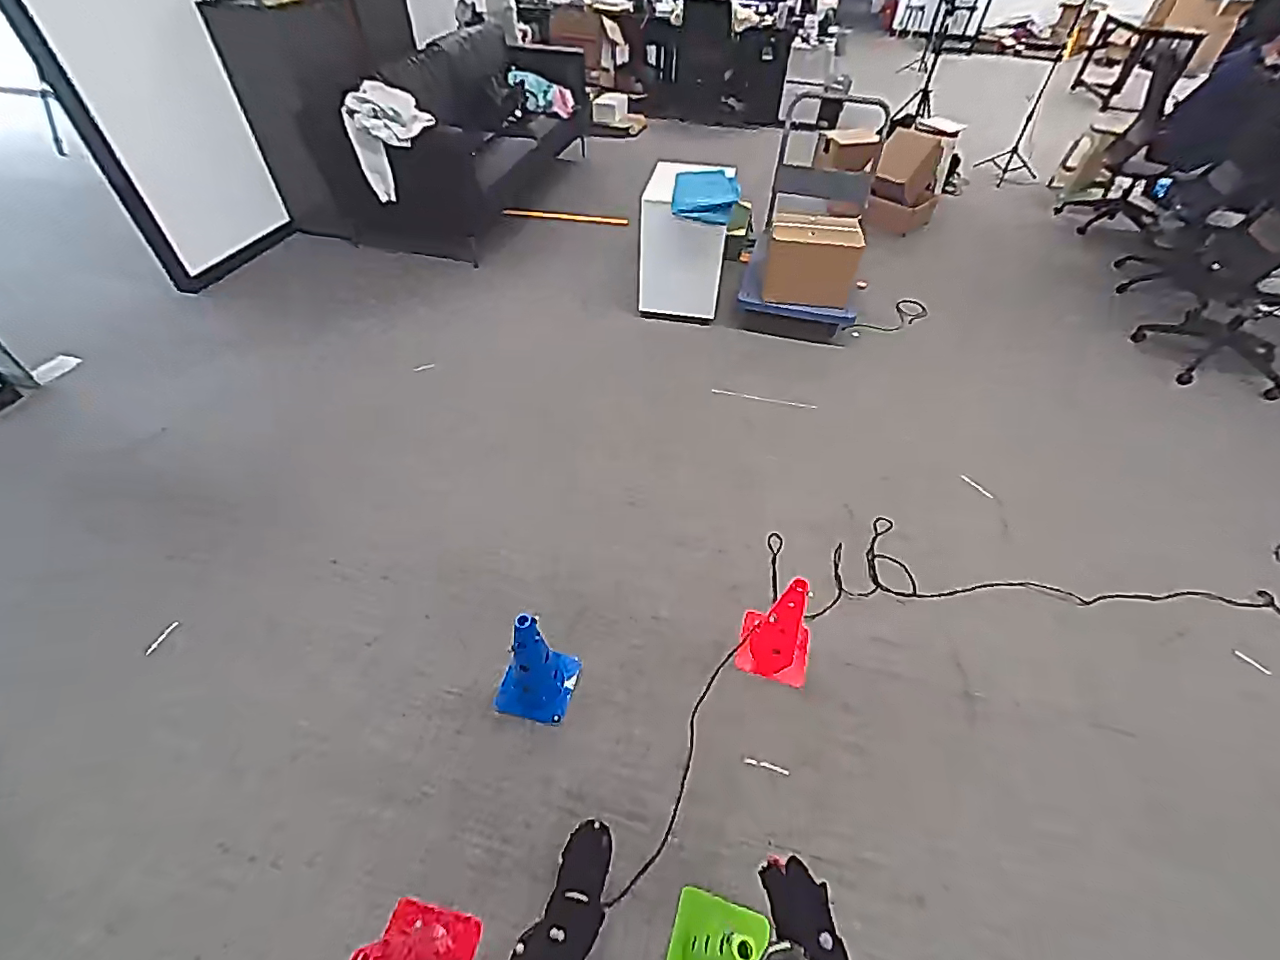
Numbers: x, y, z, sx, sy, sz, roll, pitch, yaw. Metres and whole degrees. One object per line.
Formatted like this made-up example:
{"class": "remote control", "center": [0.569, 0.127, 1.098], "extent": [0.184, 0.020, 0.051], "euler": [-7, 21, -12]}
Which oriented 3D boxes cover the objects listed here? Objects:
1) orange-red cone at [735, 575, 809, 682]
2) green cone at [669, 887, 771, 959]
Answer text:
{"class": "orange-red cone", "center": [0.397, 0.373, 1.484], "extent": [0.198, 0.360, 0.199], "euler": [15, 50, 13]}
{"class": "green cone", "center": [0.171, 0.876, 1.003], "extent": [0.200, 0.368, 0.202], "euler": [14, 47, 10]}
